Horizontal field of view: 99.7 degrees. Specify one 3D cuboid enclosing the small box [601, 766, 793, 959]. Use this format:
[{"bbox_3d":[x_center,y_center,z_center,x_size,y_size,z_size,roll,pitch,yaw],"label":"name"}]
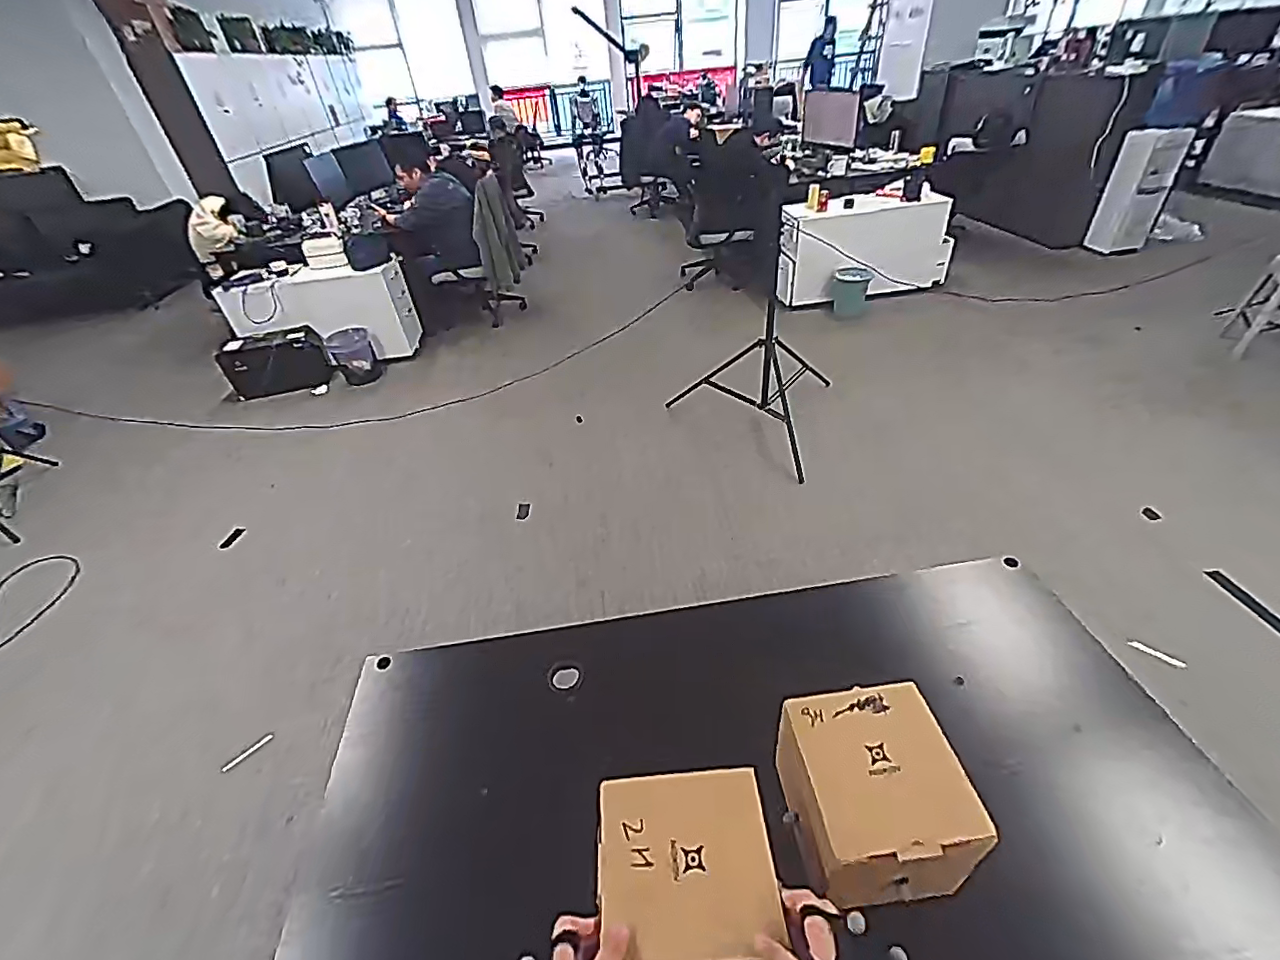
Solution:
[{"bbox_3d":[0.053,0.441,0.594,0.179,0.176,0.168,-7,38,0],"label":"small box"}]
